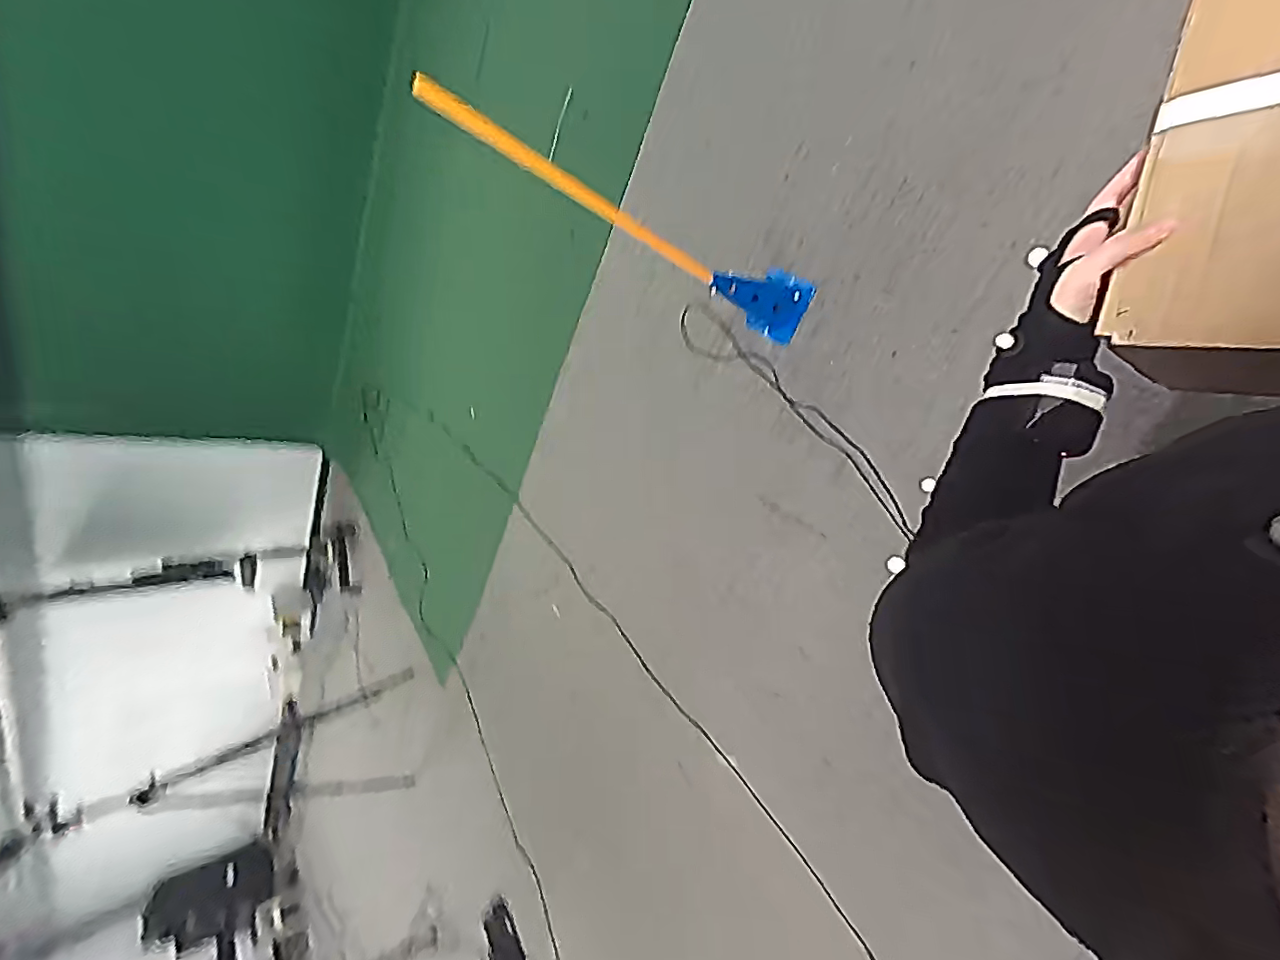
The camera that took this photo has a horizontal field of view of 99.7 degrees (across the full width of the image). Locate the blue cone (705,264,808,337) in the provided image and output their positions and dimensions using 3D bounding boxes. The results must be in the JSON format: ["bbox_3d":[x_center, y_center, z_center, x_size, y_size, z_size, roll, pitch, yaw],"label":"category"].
[{"bbox_3d":[0.314,-0.573,1.612,0.192,0.380,0.193,41,117,37],"label":"blue cone"}]
